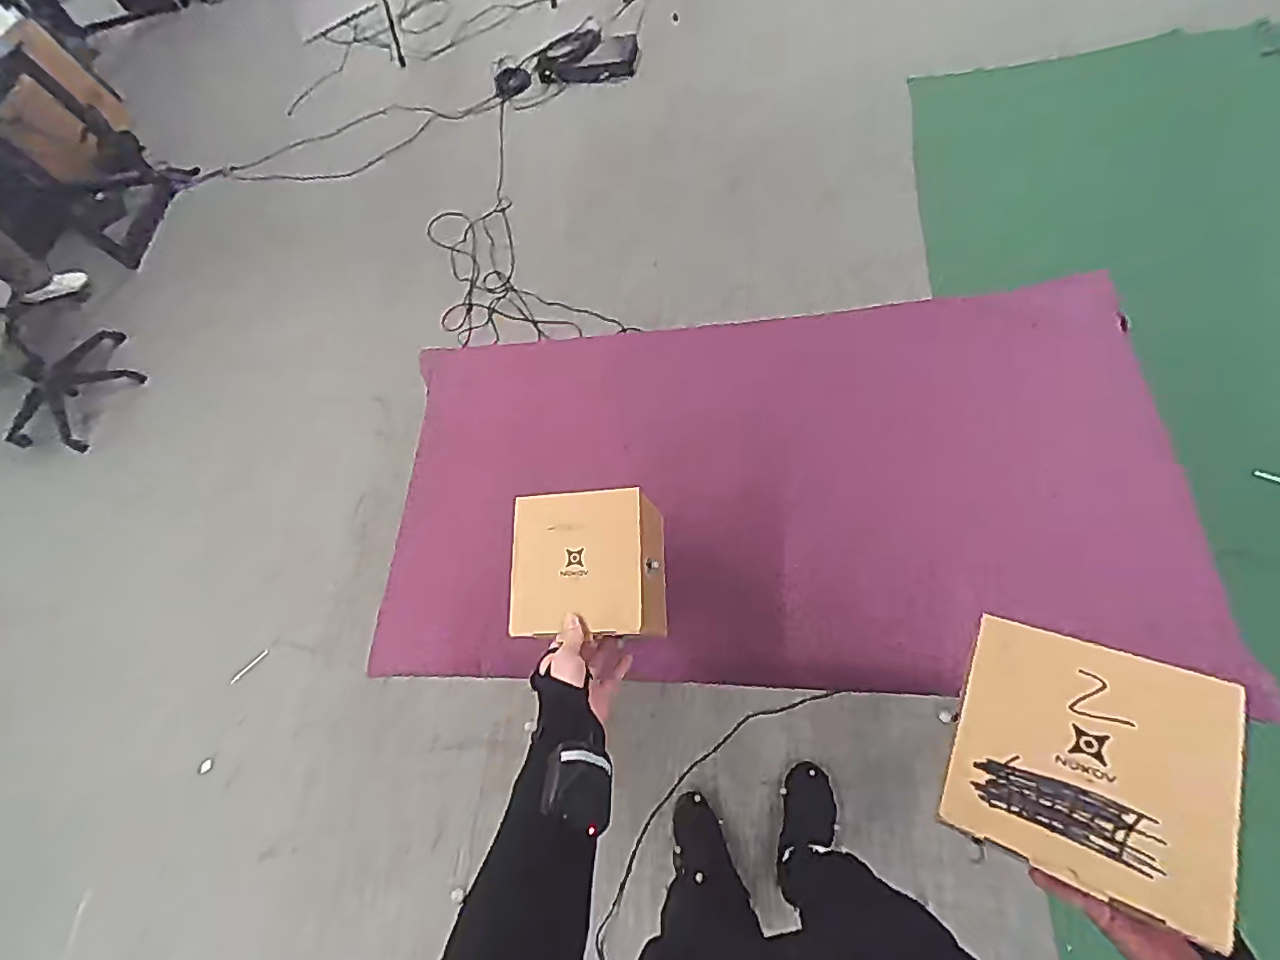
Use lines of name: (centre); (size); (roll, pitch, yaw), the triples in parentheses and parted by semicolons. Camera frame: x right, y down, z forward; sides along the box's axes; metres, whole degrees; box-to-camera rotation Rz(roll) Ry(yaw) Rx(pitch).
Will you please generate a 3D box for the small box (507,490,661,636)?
small box: (-0.065, 0.121, 0.737); (0.168, 0.176, 0.179); (-4, 72, 11)
